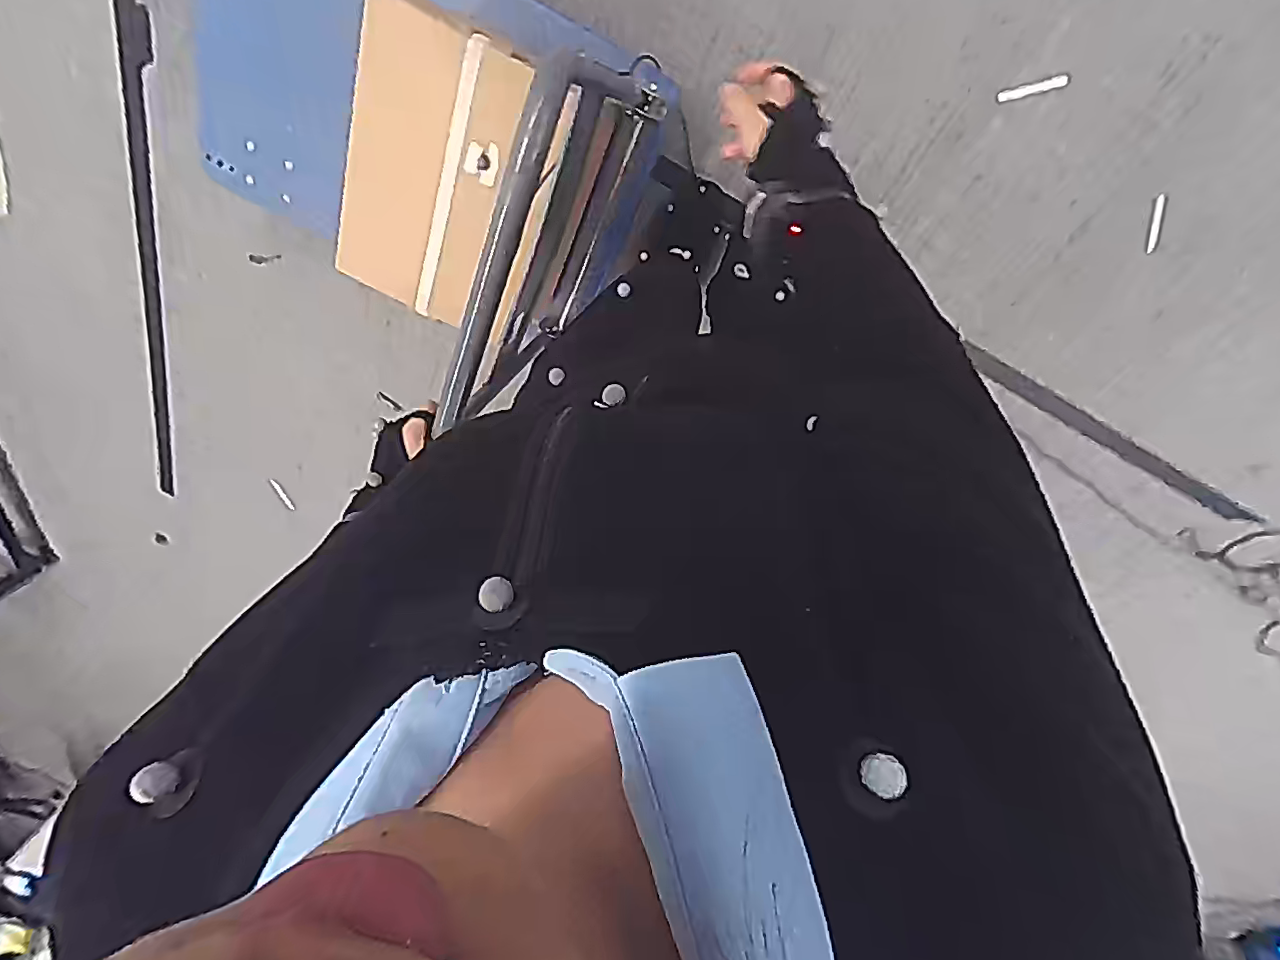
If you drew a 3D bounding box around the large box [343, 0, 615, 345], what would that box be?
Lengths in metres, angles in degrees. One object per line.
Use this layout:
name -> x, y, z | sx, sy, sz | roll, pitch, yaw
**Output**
large box -> -0.277, -0.524, 0.967 | 0.320, 0.320, 0.408 | 24, 122, -8
